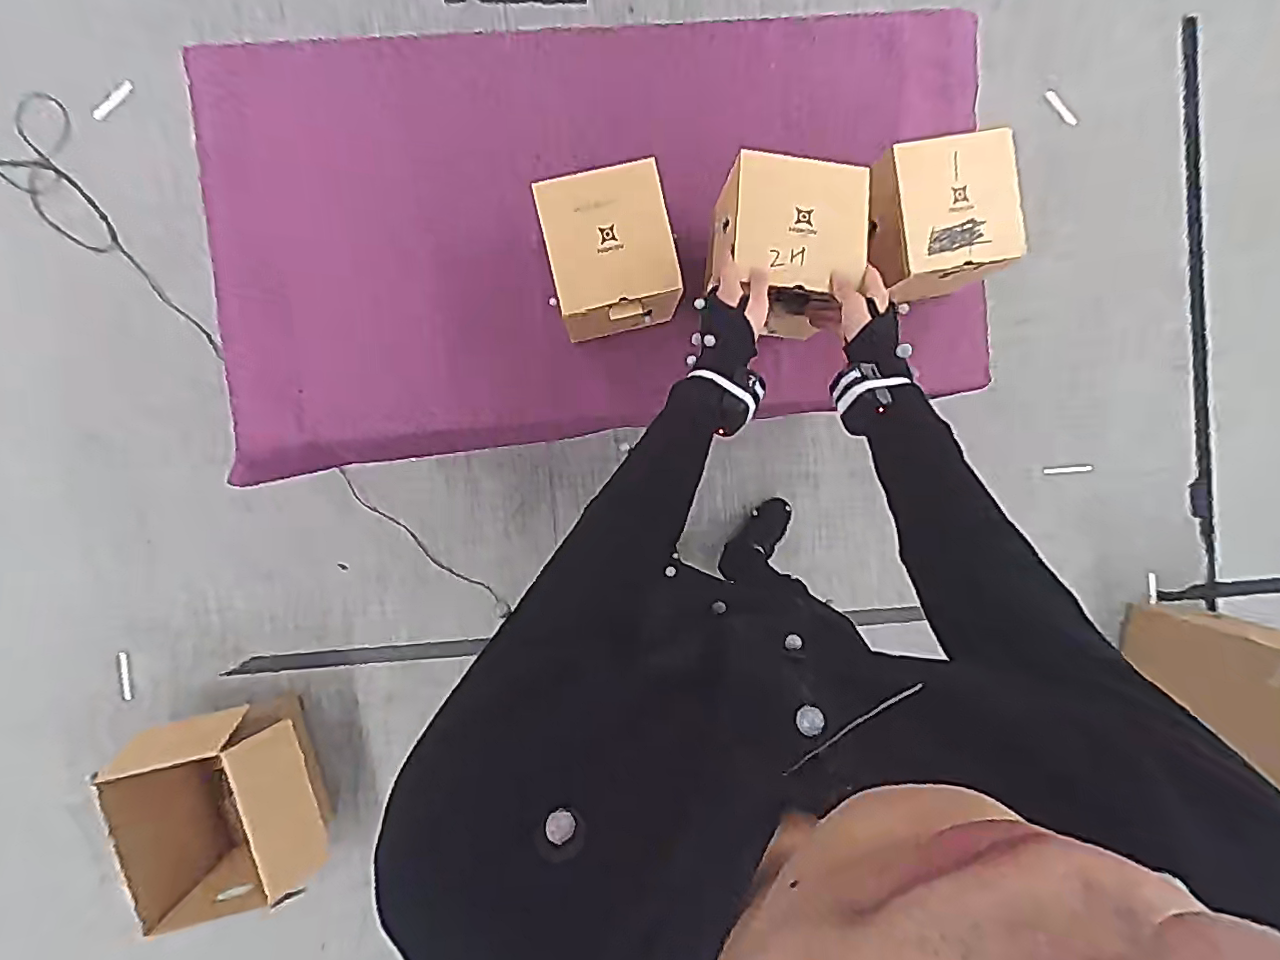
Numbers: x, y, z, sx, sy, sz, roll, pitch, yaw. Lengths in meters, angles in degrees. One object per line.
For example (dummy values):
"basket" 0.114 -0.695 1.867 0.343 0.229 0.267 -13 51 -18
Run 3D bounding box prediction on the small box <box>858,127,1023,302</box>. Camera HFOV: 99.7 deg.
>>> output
"small box" 0.418 -0.374 0.798 0.168 0.176 0.179 -10 92 -2

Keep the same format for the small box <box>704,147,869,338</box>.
"small box" 0.187 -0.308 0.737 0.168 0.176 0.179 5 91 -4

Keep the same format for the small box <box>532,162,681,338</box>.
"small box" -0.045 -0.314 0.780 0.168 0.176 0.179 -14 93 -3
